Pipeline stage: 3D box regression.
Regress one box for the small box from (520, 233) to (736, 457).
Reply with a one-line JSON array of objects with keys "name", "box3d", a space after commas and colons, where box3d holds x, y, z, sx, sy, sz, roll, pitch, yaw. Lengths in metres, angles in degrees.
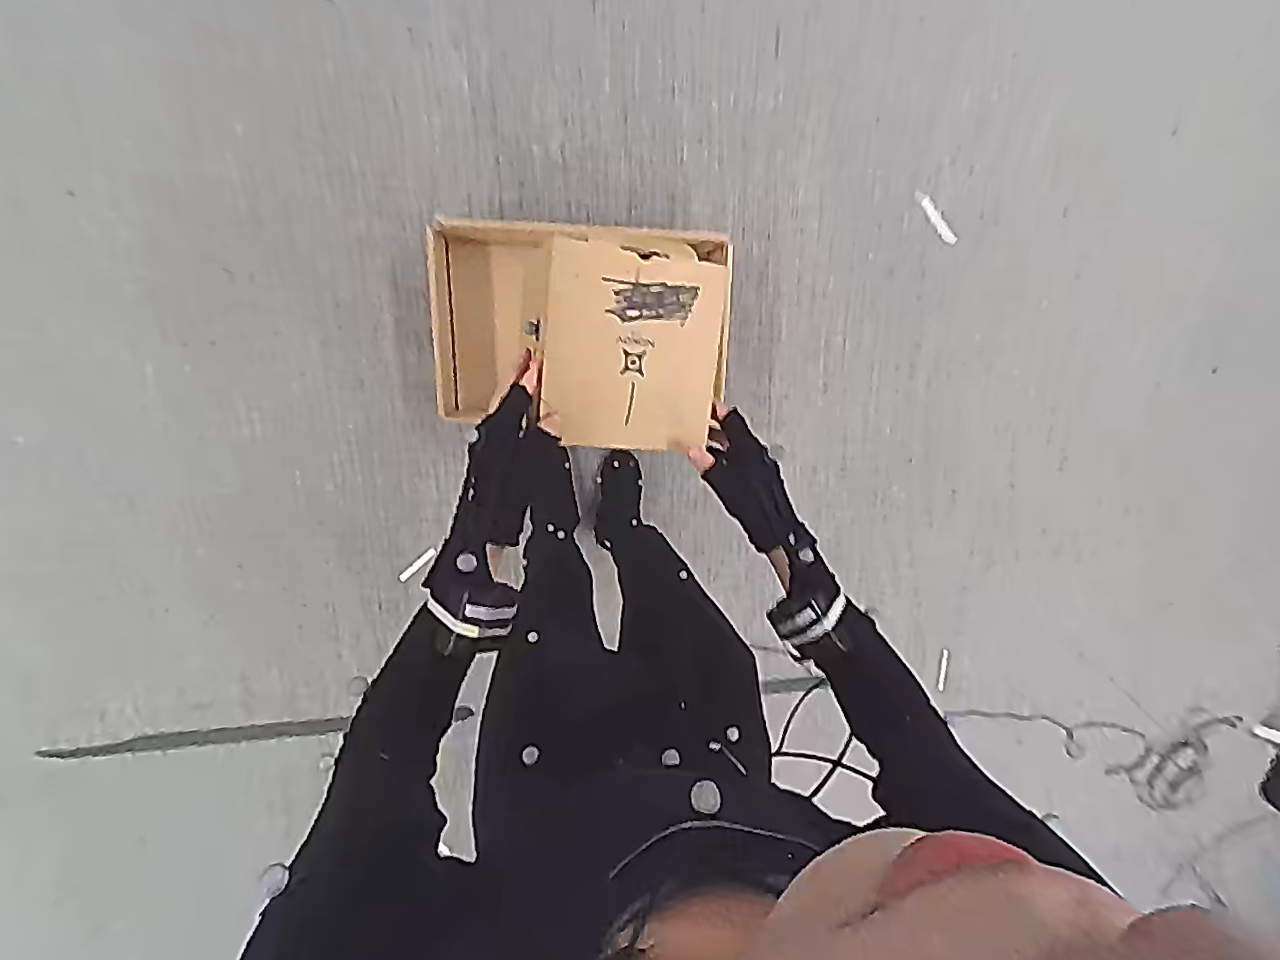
[{"name": "small box", "box3d": [-0.025, -0.126, 0.545, 0.168, 0.176, 0.179, 2, 102, -20]}]
